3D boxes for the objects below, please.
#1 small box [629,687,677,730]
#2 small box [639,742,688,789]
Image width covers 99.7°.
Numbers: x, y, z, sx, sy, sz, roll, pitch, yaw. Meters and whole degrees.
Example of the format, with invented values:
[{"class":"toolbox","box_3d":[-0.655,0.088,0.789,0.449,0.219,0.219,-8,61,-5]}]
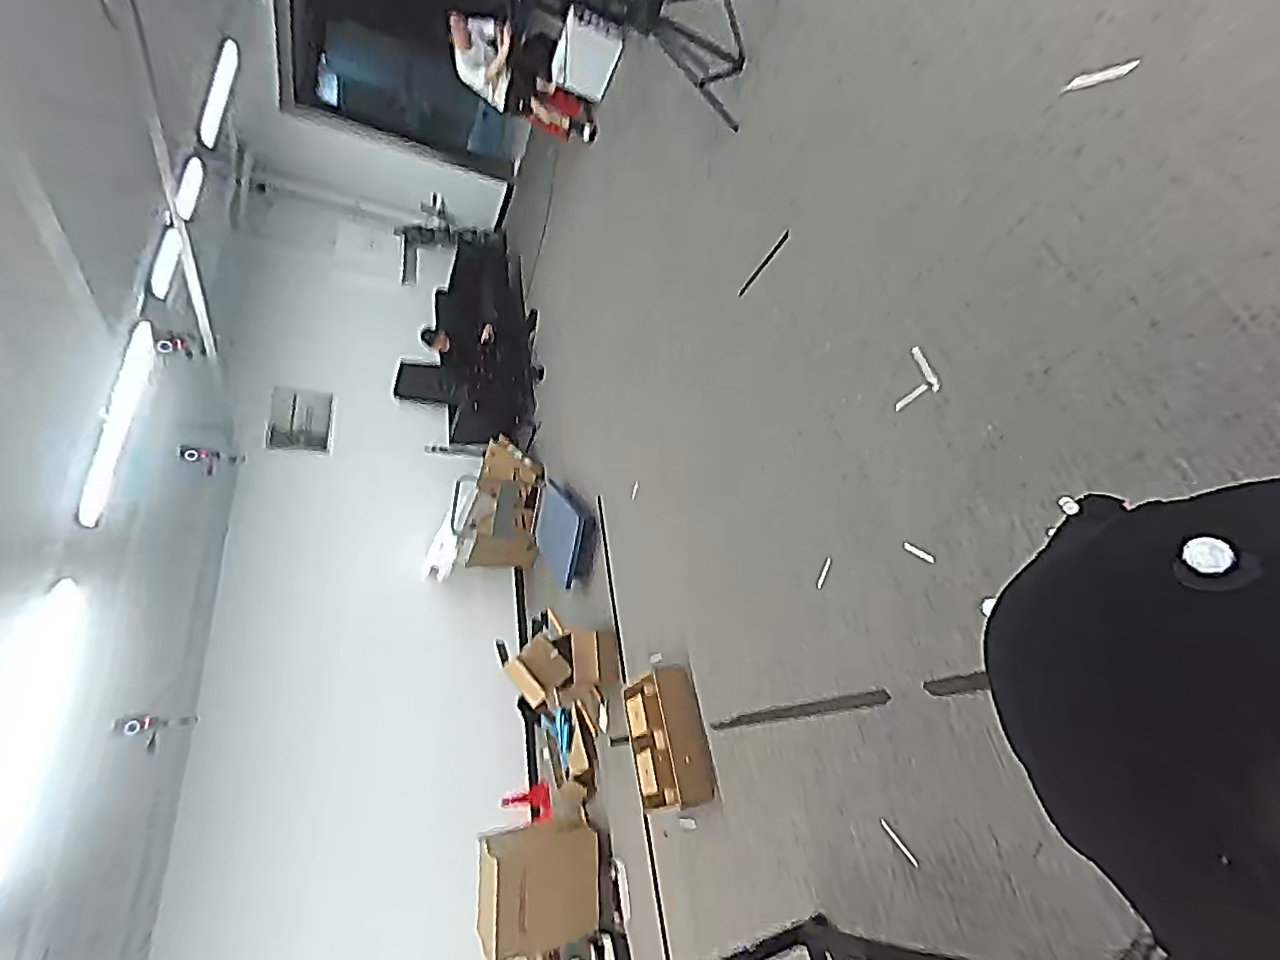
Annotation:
[{"class":"small box","box_3d":[0.067,1.181,2.790,0.179,0.176,0.168,-51,44,47]},{"class":"small box","box_3d":[0.116,1.401,2.660,0.168,0.176,0.179,-54,40,47]}]
